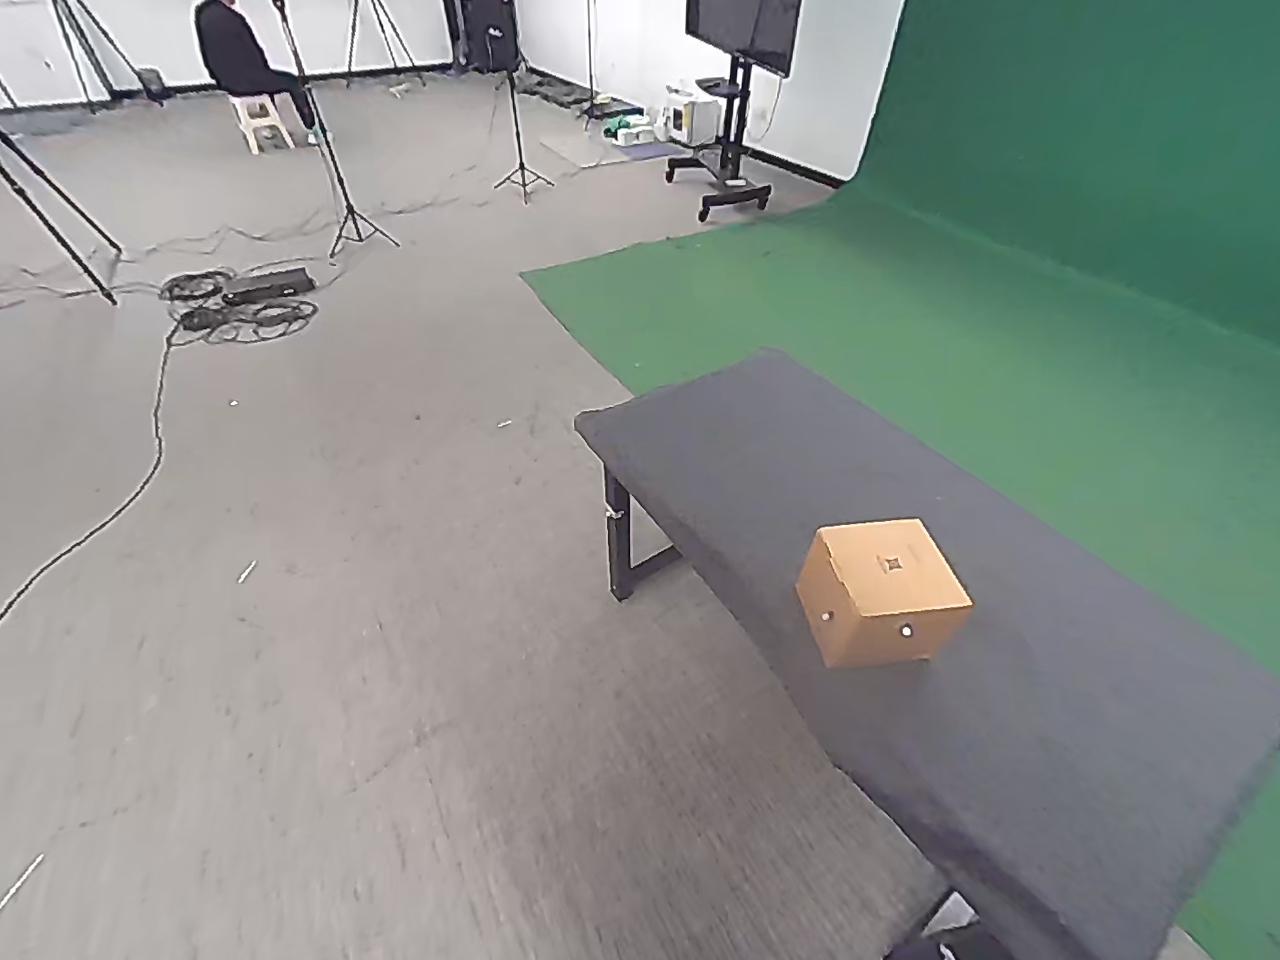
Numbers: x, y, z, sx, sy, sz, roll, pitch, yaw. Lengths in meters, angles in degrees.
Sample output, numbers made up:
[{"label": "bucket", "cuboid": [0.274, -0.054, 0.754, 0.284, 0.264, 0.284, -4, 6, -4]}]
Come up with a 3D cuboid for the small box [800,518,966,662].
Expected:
[{"label": "small box", "cuboid": [0.376, 0.182, 0.883, 0.179, 0.176, 0.168, -4, 47, -7]}]
